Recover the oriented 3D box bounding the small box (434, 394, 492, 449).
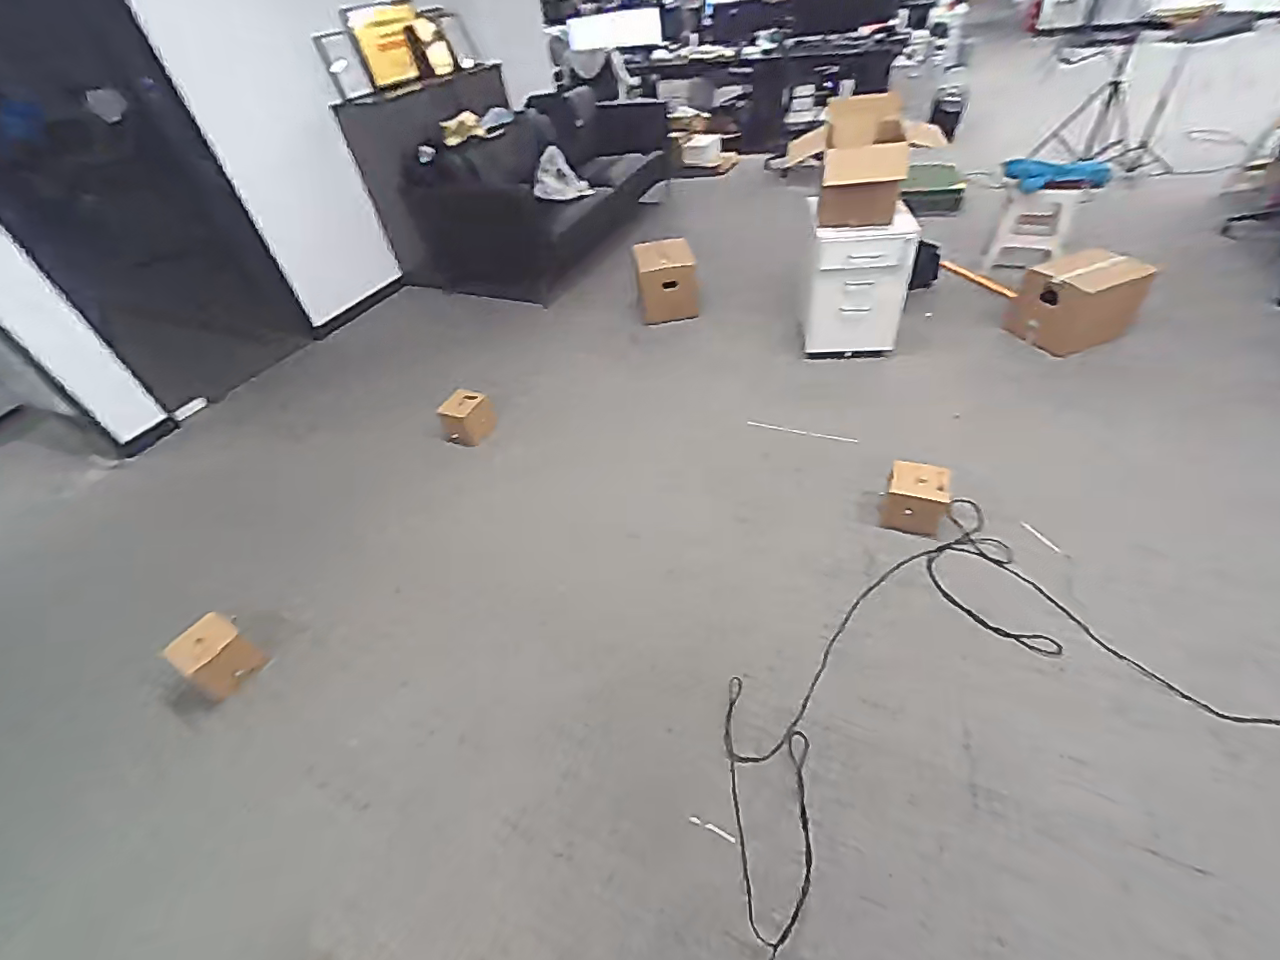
[{"bbox_3d":[-0.808,-0.271,2.497,0.168,0.176,0.179,14,48,23],"label":"small box"}]

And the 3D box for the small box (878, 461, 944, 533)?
[{"bbox_3d":[0.921,0.060,1.847,0.179,0.176,0.168,11,47,21],"label":"small box"}]

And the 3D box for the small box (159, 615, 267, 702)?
[{"bbox_3d":[-1.327,0.561,1.689,0.179,0.176,0.168,18,50,26],"label":"small box"}]
